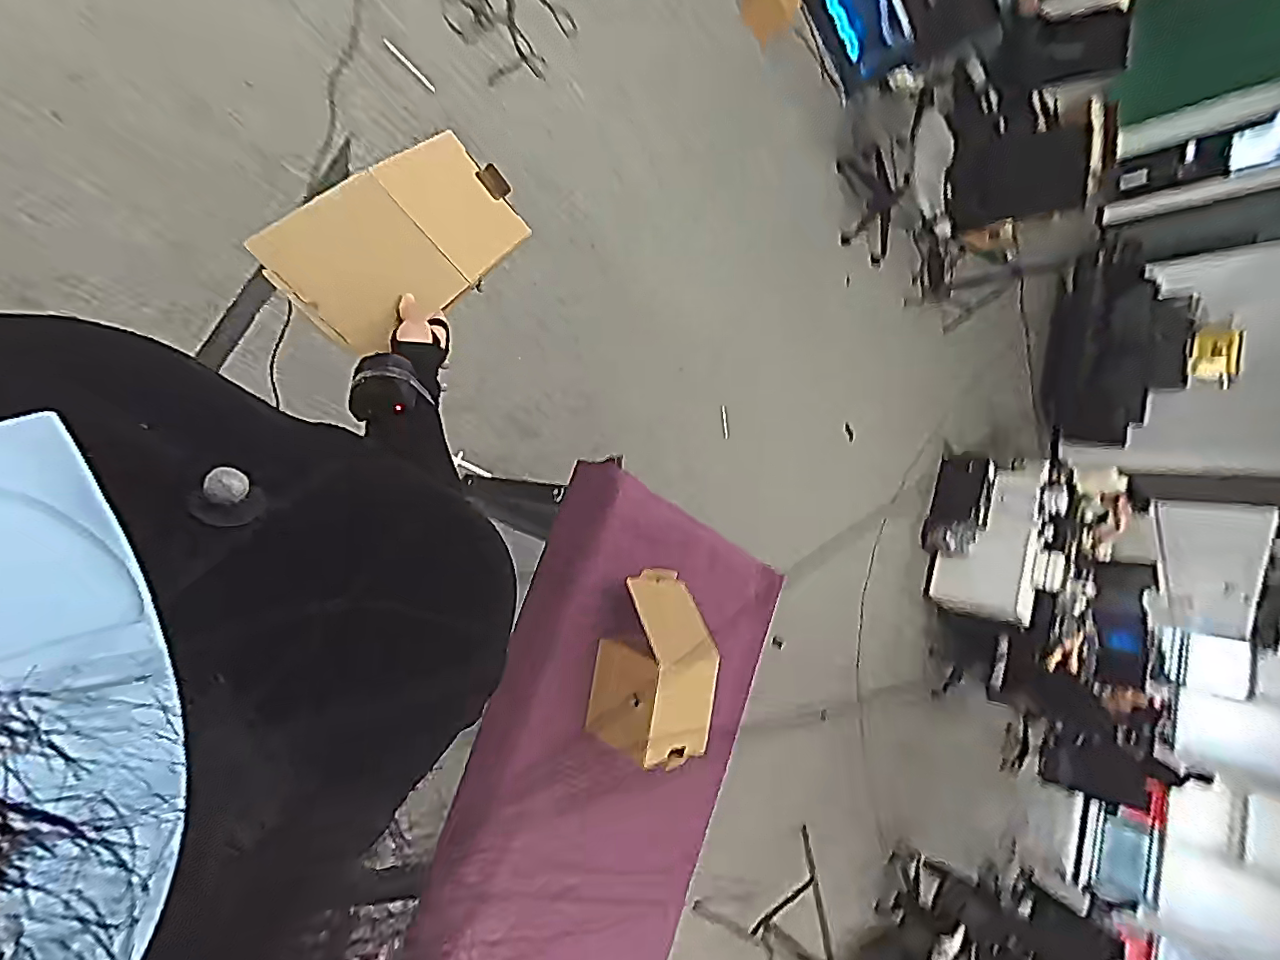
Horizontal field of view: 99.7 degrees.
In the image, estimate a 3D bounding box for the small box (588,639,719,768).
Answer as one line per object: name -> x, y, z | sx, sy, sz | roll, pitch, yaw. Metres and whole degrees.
small box -> 0.021, 0.403, 1.013 | 0.168, 0.176, 0.179 | 13, 85, -42
